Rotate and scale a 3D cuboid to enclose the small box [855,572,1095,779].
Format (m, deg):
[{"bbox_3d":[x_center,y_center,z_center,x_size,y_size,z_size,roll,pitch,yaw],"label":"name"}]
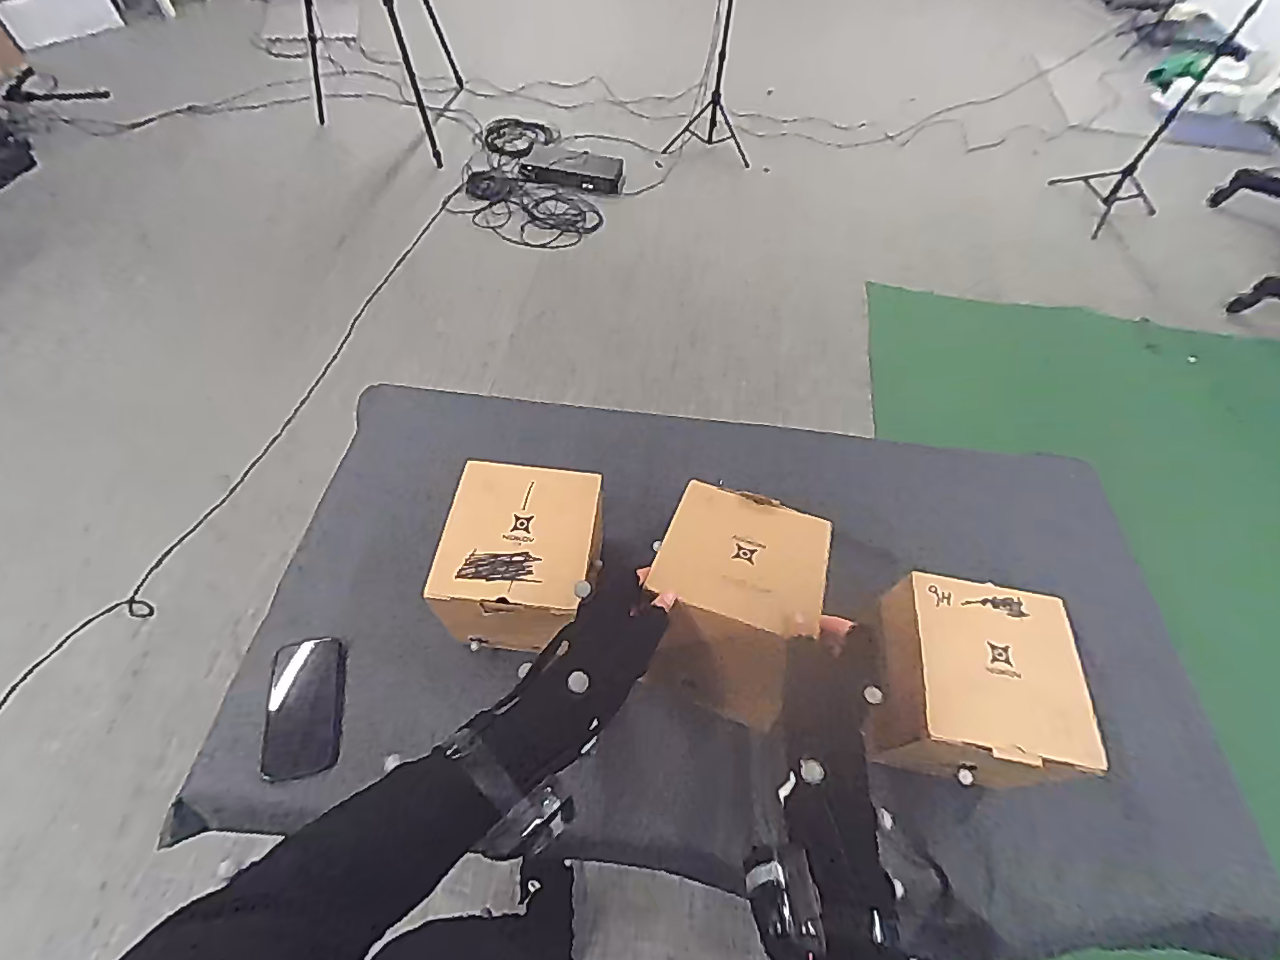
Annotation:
[{"bbox_3d":[0.363,0.233,0.627,0.168,0.176,0.179,11,57,2],"label":"small box"}]

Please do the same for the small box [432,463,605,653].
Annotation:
[{"bbox_3d":[-0.135,0.104,0.677,0.168,0.176,0.179,7,56,0],"label":"small box"}]

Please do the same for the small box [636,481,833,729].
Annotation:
[{"bbox_3d":[0.101,0.135,0.601,0.168,0.176,0.179,17,41,11],"label":"small box"}]
